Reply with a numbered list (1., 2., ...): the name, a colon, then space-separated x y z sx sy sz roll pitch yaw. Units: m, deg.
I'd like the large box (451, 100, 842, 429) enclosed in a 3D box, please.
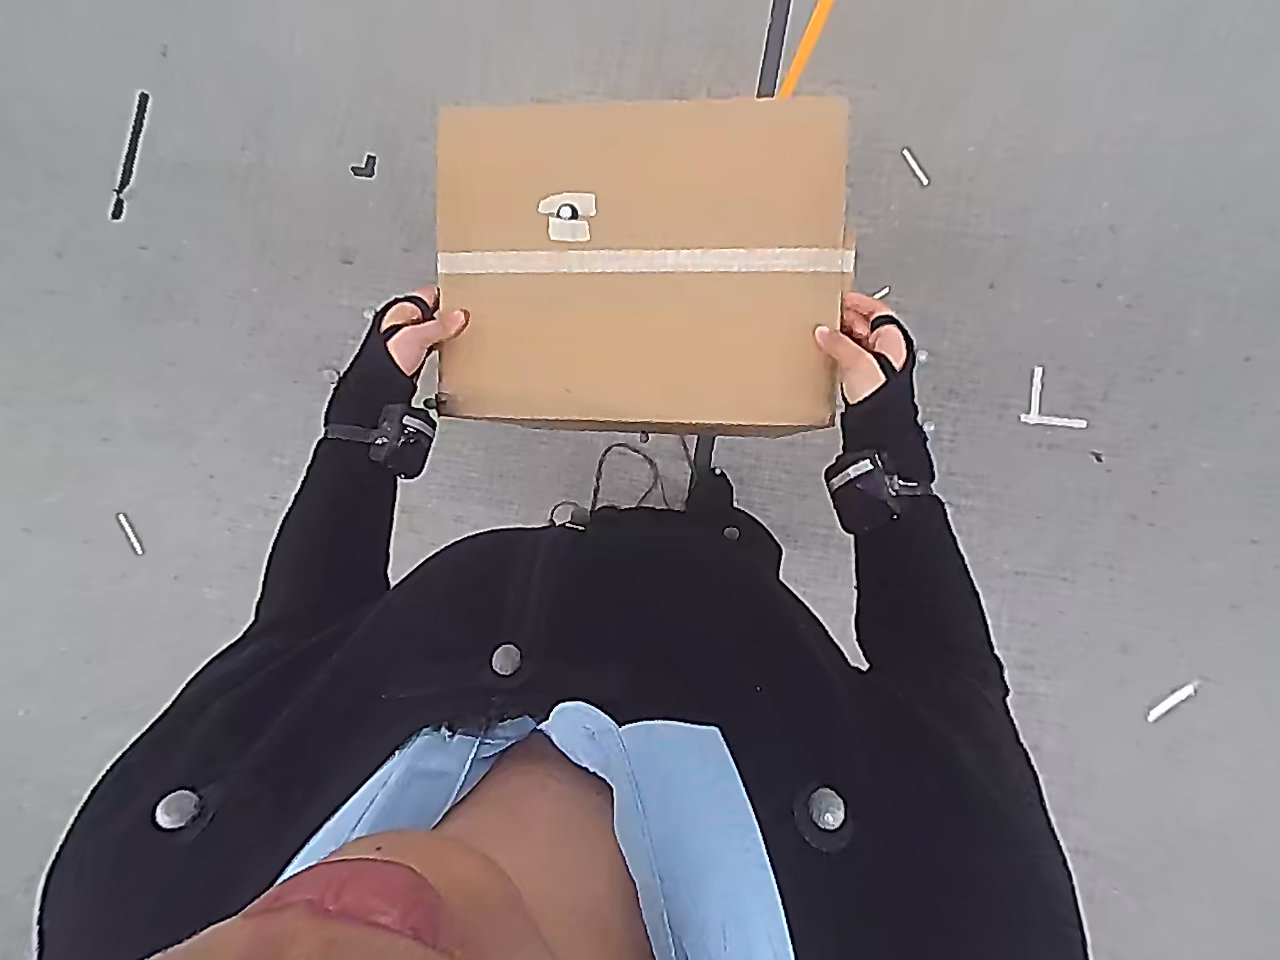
1. large box: 0.017 -0.224 0.697 0.408 0.320 0.320 2 92 7
